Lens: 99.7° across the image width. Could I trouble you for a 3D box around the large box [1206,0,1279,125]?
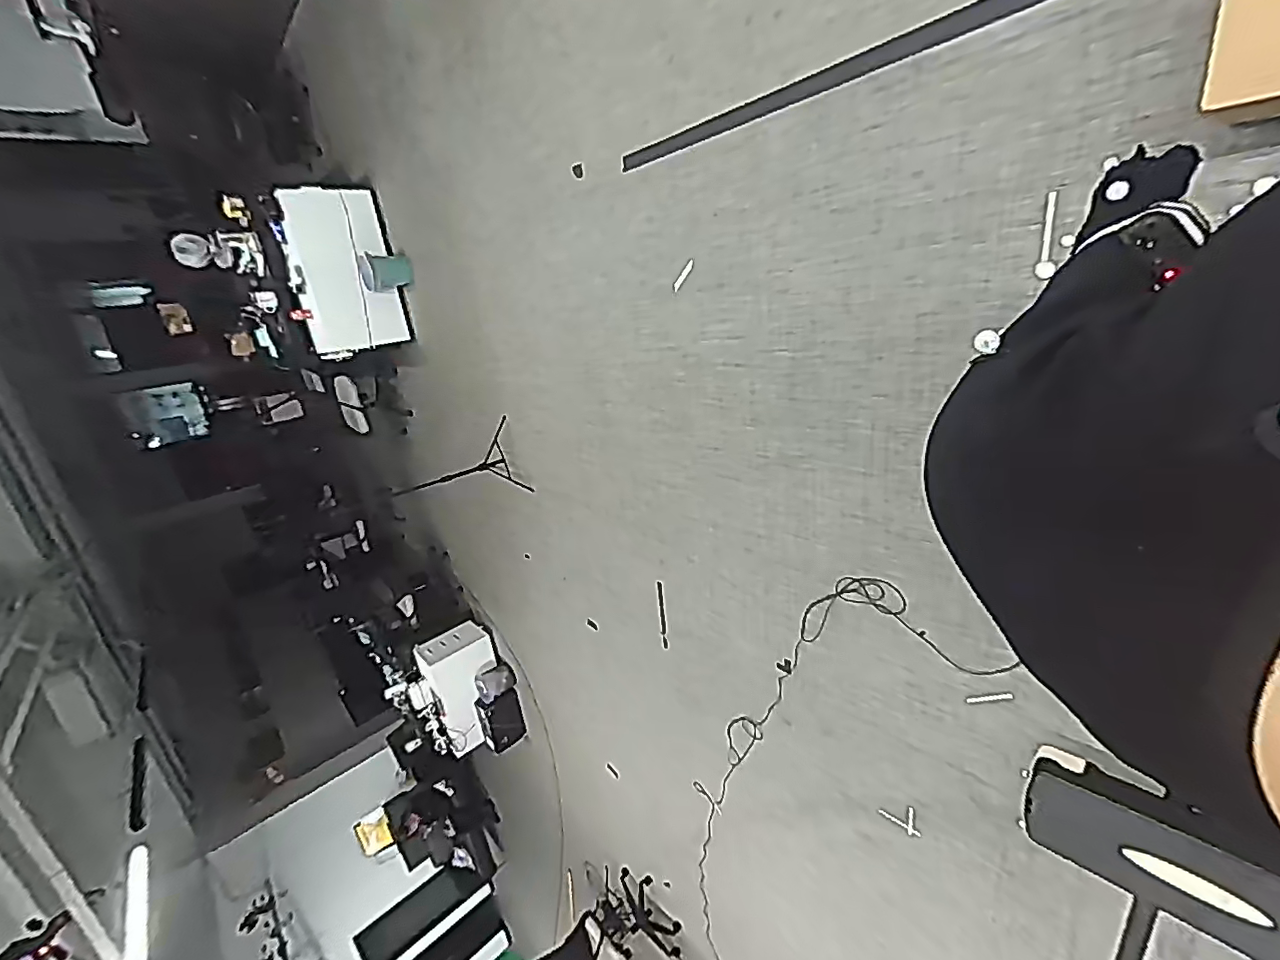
[{"bbox_3d":[1.015,-0.681,0.661,0.408,0.320,0.320,14,120,45],"label":"large box"}]
